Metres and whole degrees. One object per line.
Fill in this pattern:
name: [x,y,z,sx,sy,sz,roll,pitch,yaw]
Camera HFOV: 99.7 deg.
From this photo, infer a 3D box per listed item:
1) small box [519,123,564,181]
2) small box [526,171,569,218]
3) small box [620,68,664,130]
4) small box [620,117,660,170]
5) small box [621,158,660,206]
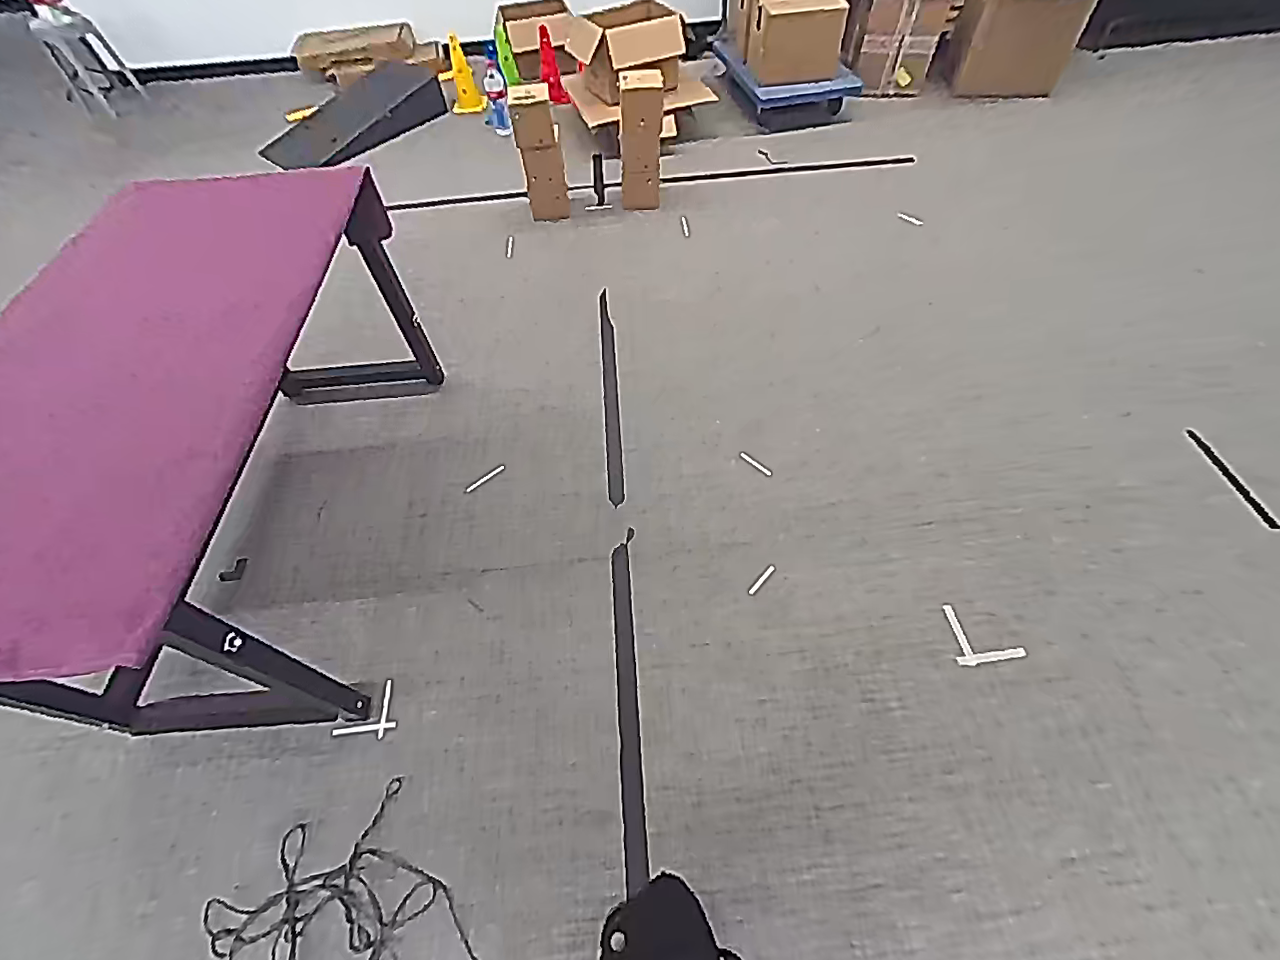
small box: [-0.428,-1.438,2.378,0.168,0.176,0.179,-5,54,-1]
small box: [-0.428,-1.345,2.514,0.179,0.176,0.168,-8,55,-2]
small box: [0.005,-1.596,2.270,0.179,0.176,0.168,-2,57,-1]
small box: [-0.002,-1.511,2.411,0.168,0.176,0.179,-5,57,-2]
small box: [0.004,-1.409,2.538,0.179,0.176,0.168,-1,56,1]
